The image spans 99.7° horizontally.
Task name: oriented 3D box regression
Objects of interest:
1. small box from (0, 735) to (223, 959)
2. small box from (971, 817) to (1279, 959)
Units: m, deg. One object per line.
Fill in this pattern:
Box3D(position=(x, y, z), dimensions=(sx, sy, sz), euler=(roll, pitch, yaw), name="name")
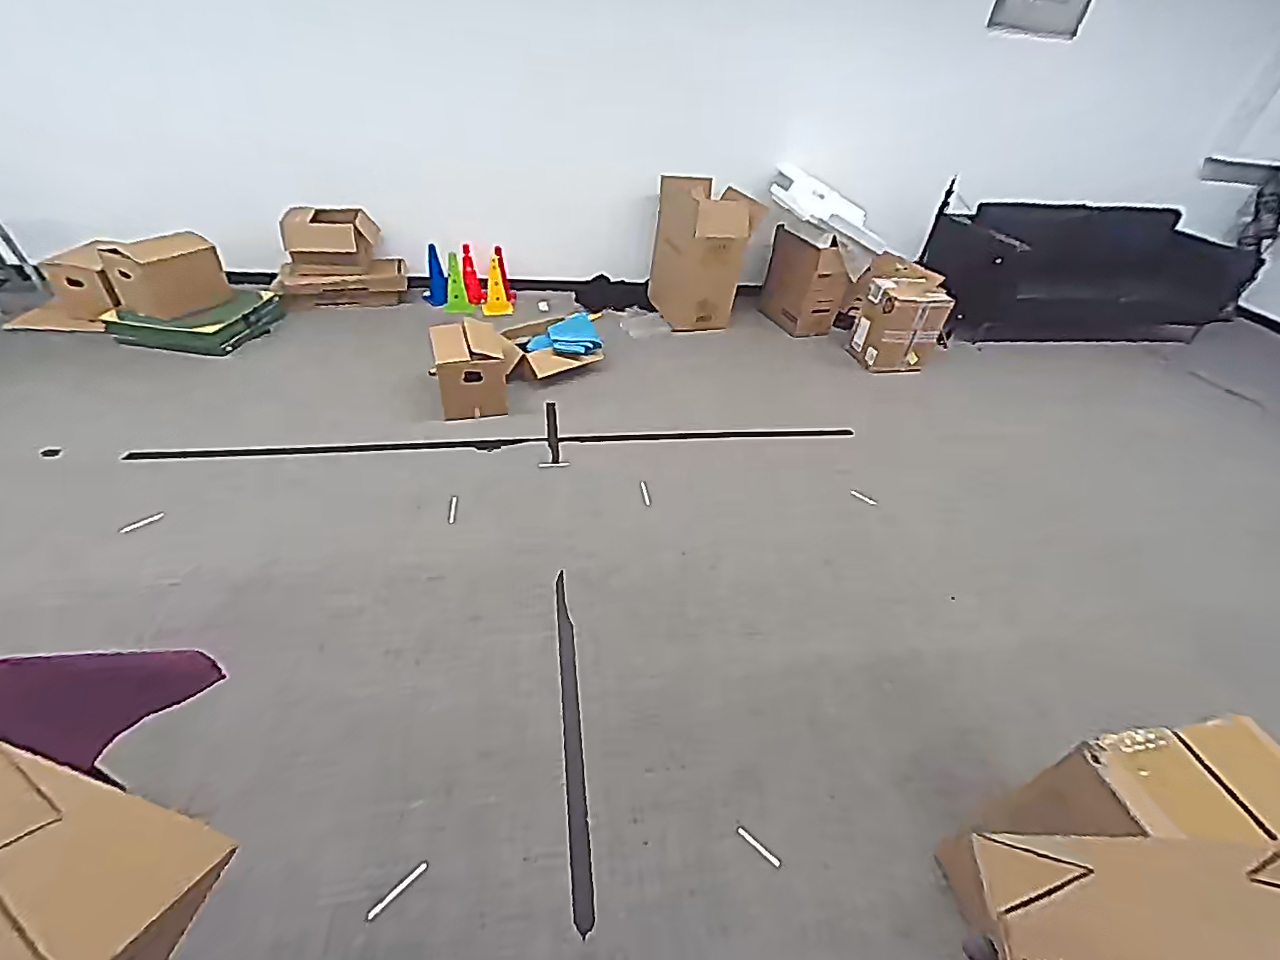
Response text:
Box3D(position=(-0.363, 0.257, 0.272), dimensions=(0.179, 0.168, 0.176), euler=(28, 70, -6), name="small box")
Box3D(position=(0.264, 0.259, 0.237), dimensions=(0.168, 0.179, 0.176), euler=(-16, 64, 24), name="small box")
